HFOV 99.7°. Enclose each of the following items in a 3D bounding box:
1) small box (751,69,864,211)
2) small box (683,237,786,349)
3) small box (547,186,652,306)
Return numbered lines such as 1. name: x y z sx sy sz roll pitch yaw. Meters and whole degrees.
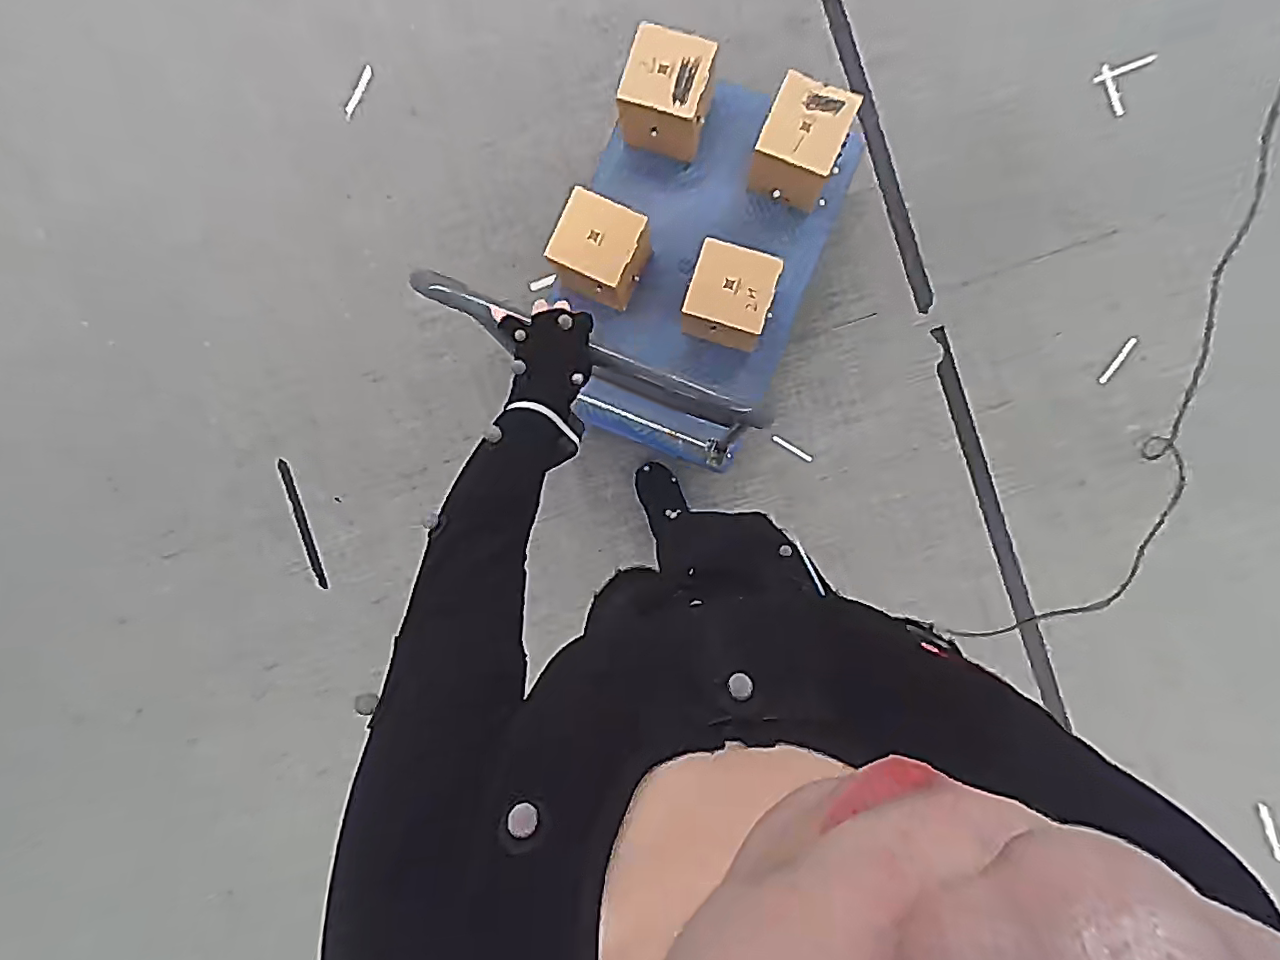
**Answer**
1. small box: 0.357 -0.737 1.192 0.168 0.176 0.179 24 94 4
2. small box: 0.203 -0.407 1.208 0.179 0.176 0.168 19 92 4
3. small box: -0.085 -0.519 1.228 0.179 0.176 0.168 25 92 2
